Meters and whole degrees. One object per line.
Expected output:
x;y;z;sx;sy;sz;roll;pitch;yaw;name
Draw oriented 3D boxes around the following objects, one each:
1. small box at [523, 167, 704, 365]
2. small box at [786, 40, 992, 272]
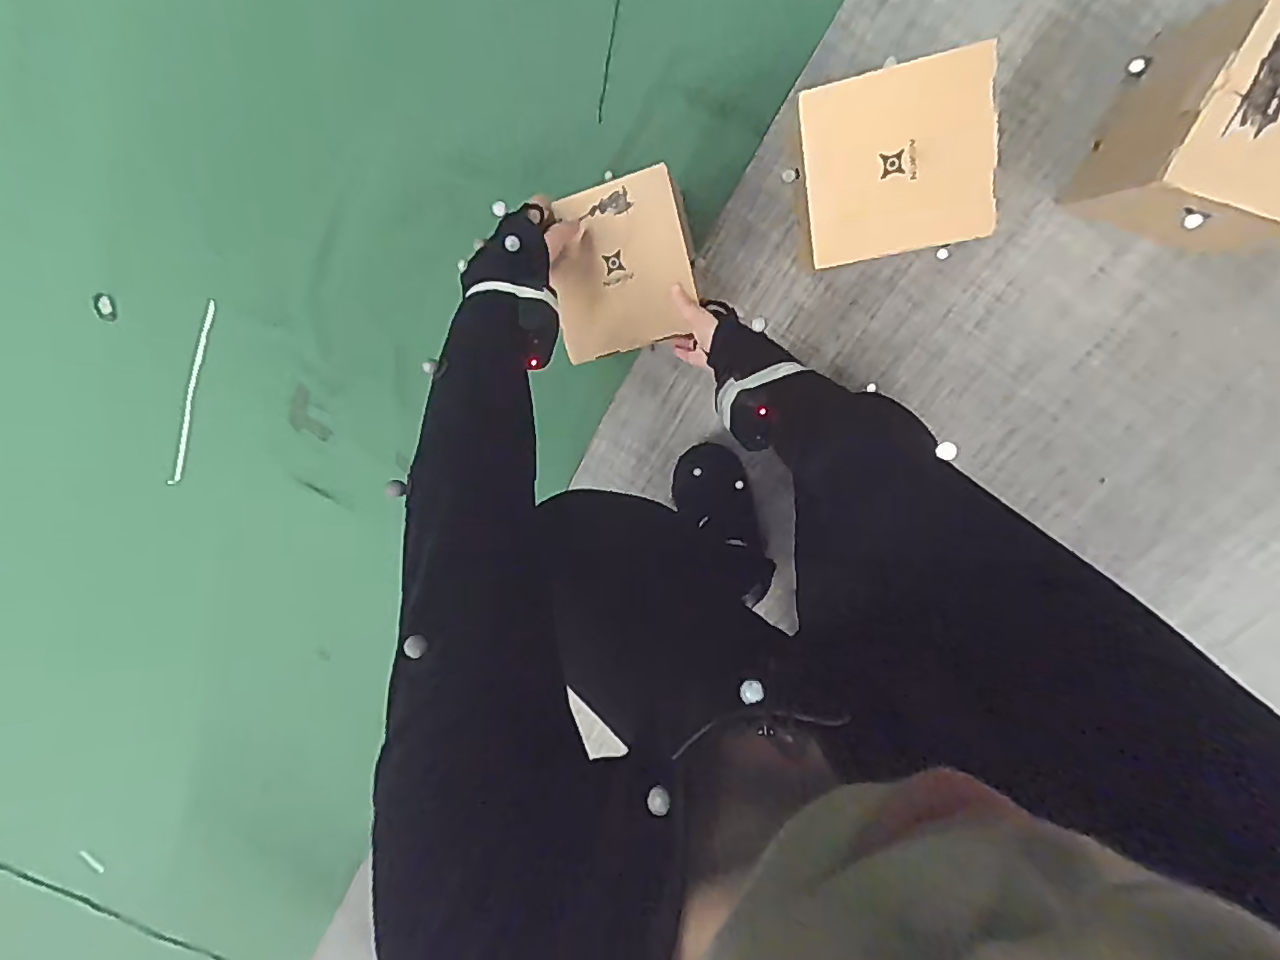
-0.018;-0.260;0.676;0.168;0.176;0.179;-12;108;13;small box
0.260;-0.335;0.601;0.179;0.176;0.168;-8;108;12;small box
